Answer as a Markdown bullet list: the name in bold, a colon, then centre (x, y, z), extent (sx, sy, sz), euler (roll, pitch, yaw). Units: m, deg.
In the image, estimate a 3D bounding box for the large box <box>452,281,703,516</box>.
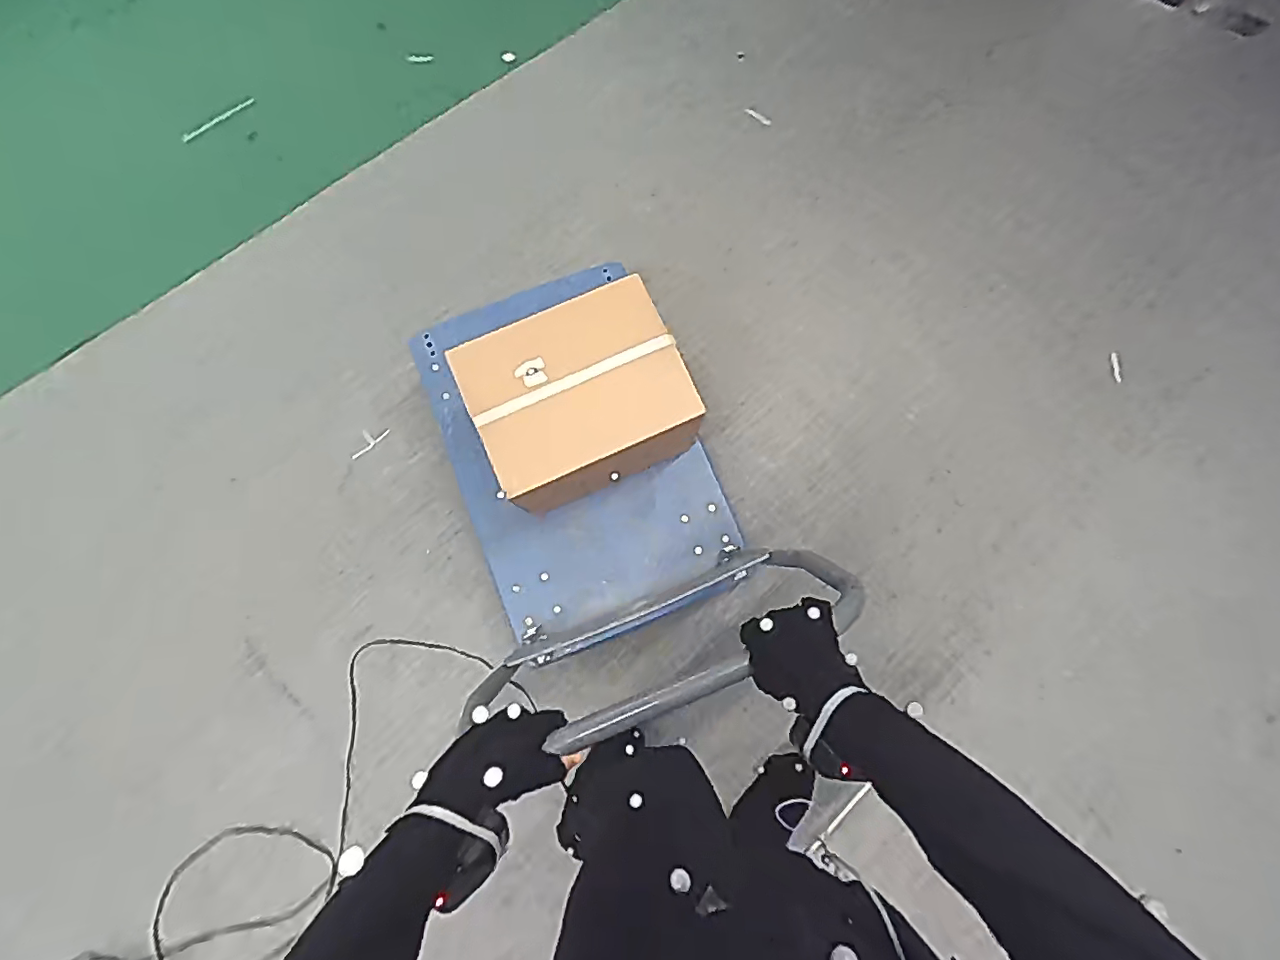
- **large box**: centre (-0.120, -0.152, 1.178), extent (0.408, 0.320, 0.320), euler (-26, 82, -4)
